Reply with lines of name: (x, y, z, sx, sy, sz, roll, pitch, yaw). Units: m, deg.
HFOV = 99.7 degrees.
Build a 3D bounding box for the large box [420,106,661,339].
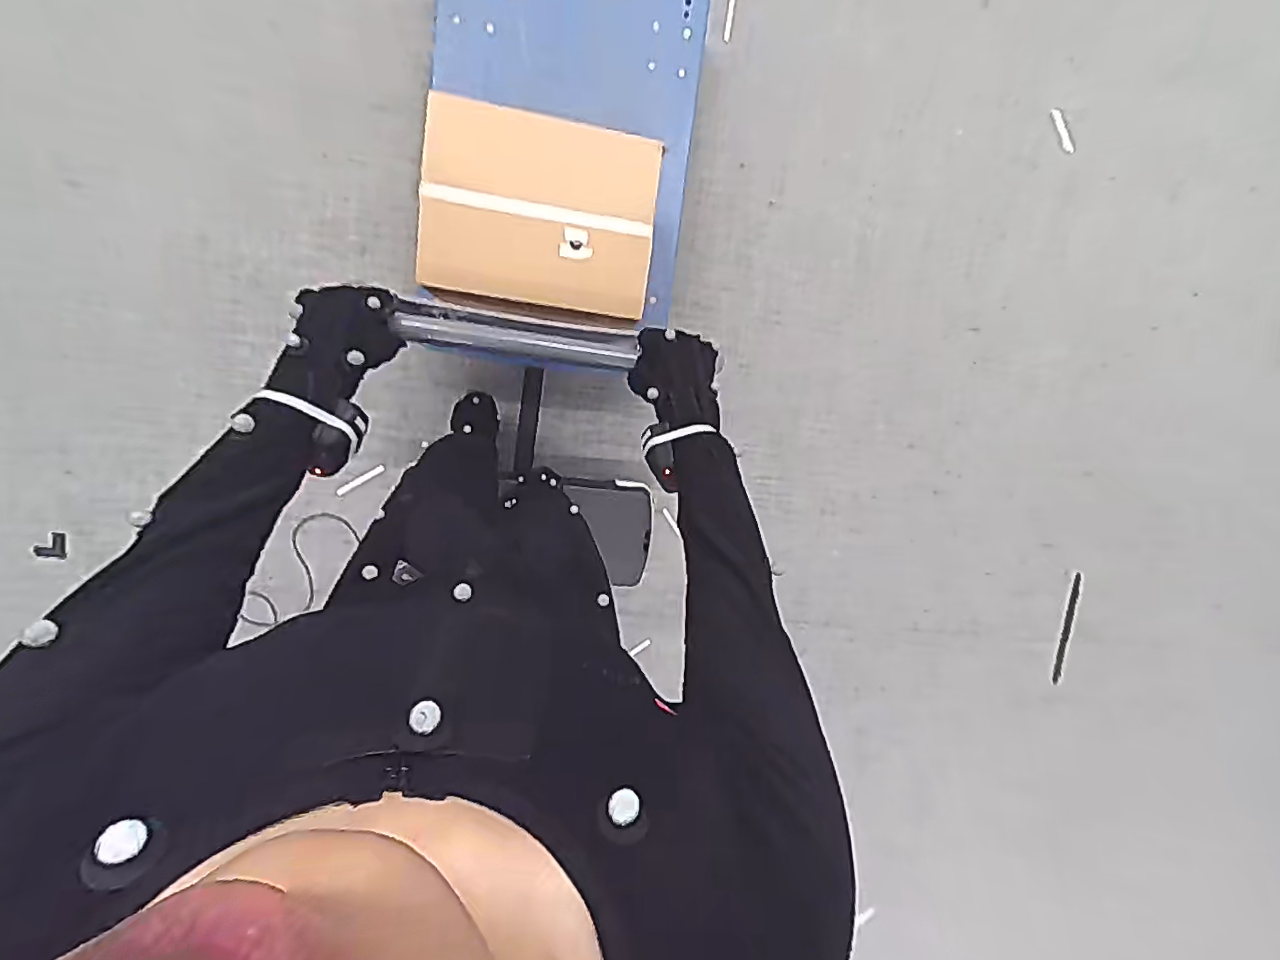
large box: (-0.198, -0.481, 1.097, 0.408, 0.320, 0.320, 6, 99, -10)
